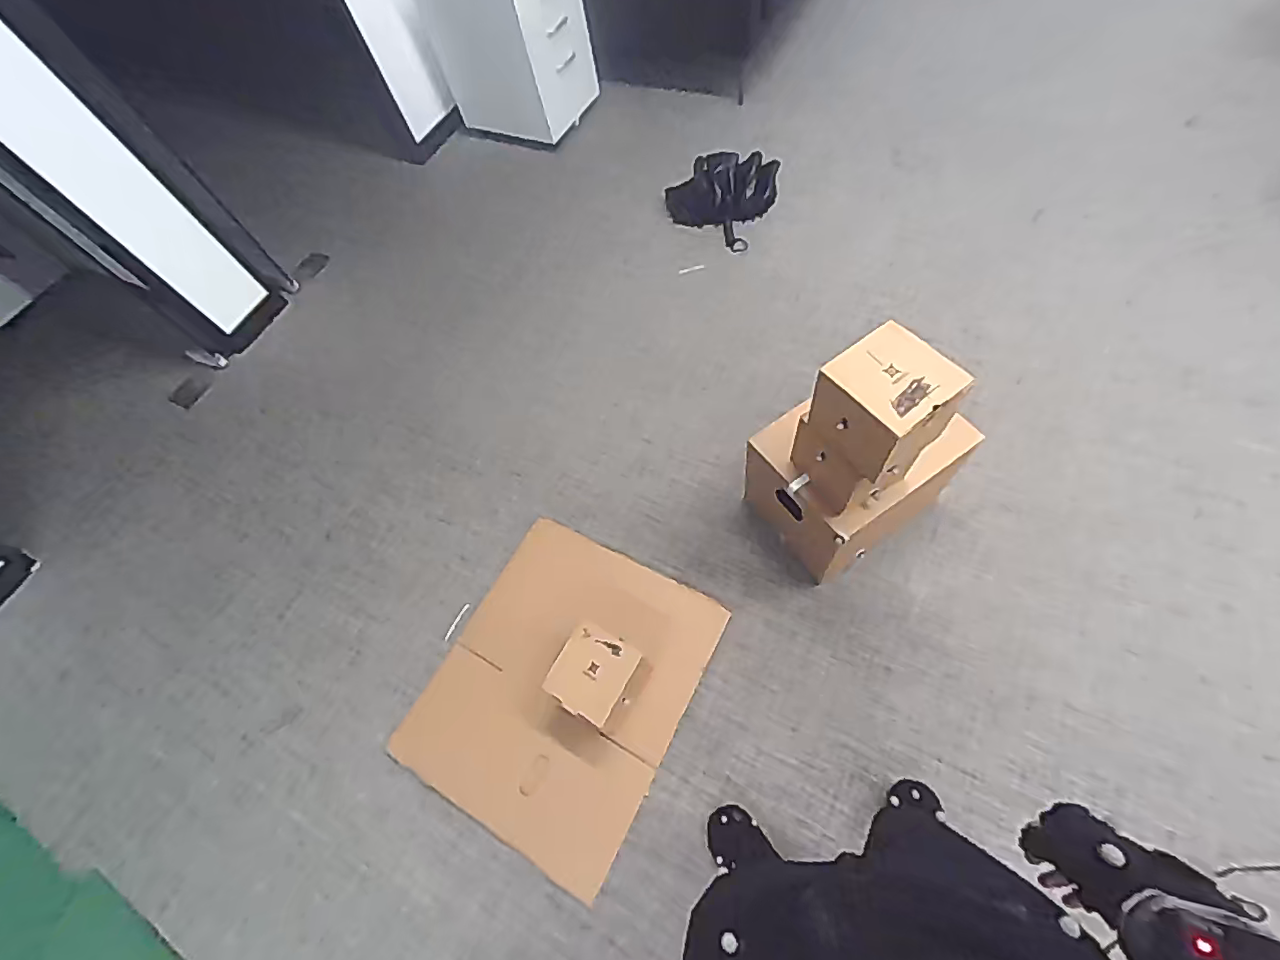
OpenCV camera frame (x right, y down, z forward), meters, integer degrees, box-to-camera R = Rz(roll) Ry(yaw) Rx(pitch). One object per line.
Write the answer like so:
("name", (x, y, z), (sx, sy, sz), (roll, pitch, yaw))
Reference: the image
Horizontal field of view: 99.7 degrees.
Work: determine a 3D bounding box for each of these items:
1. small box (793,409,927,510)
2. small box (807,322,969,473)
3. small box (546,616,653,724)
("small box", (0.434, -0.069, 1.103), (0.168, 0.176, 0.179), (-31, 64, -6))
("small box", (0.421, -0.133, 0.951), (0.168, 0.176, 0.179), (-38, 65, -9))
("small box", (-0.084, 0.447, 1.258), (0.168, 0.176, 0.179), (22, 70, 22))
